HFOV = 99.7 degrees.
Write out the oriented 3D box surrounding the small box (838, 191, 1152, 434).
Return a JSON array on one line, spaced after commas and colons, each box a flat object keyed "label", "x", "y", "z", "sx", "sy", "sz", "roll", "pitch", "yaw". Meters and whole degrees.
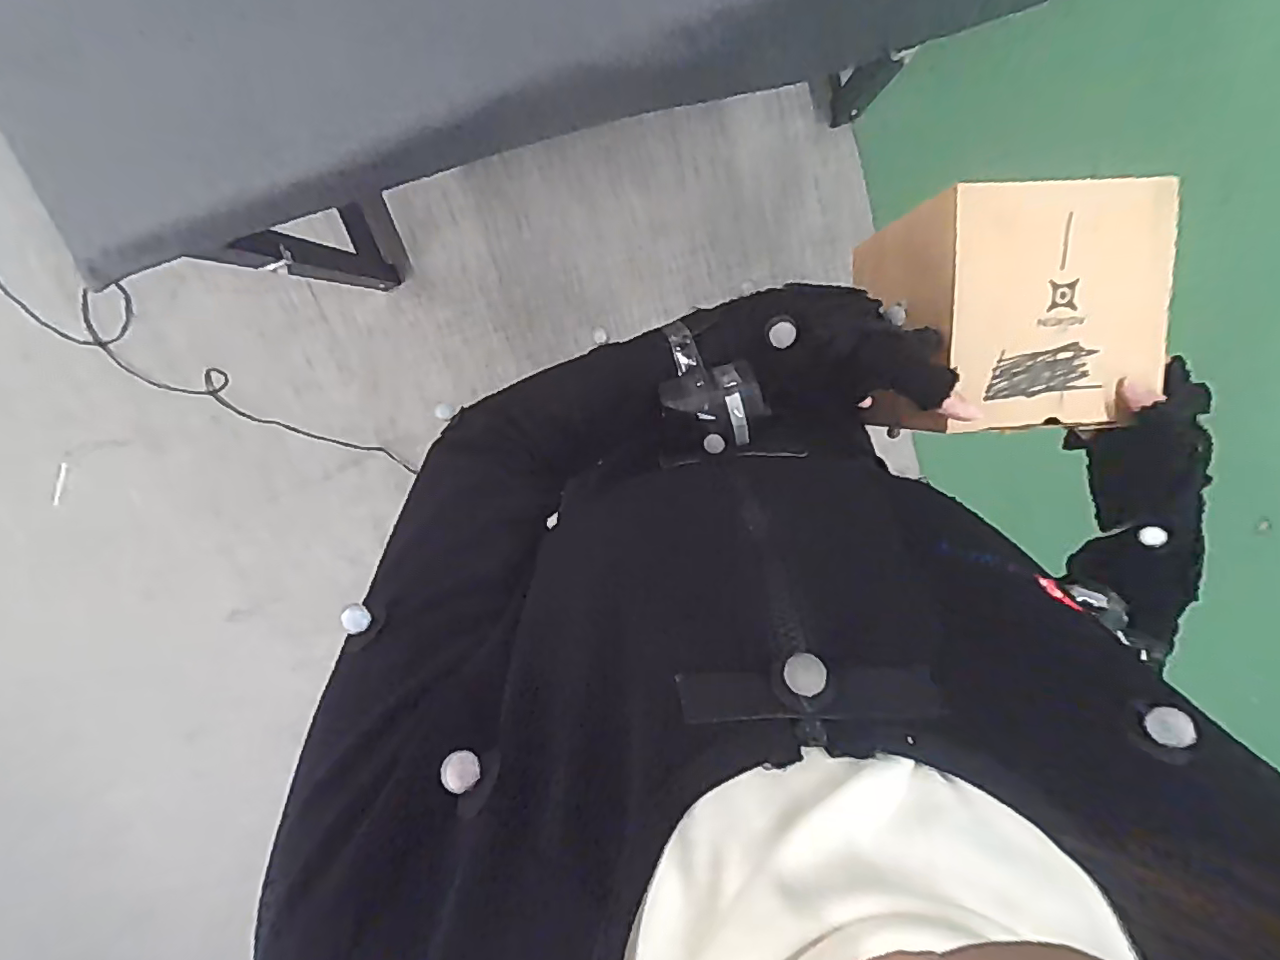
[{"label": "small box", "x": 0.291, "y": -0.135, "z": 0.484, "sx": 0.168, "sy": 0.176, "sz": 0.179, "roll": -2, "pitch": 97, "yaw": -3}]
